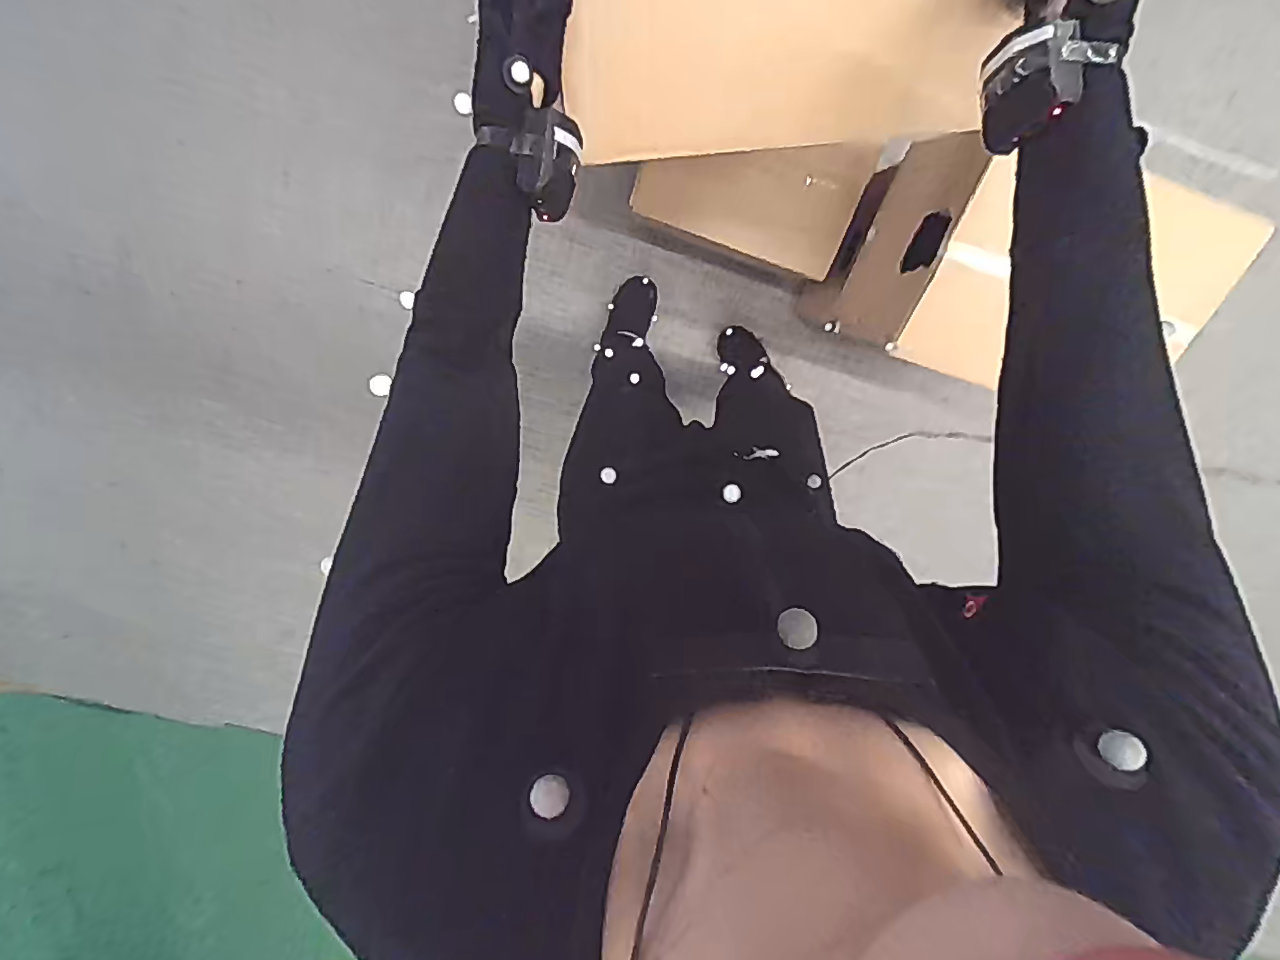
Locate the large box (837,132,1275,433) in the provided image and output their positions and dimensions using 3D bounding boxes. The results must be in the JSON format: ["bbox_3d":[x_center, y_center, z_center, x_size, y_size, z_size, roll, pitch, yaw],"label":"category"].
[{"bbox_3d":[0.609,-0.321,0.888,0.408,0.320,0.320,17,116,-5],"label":"large box"}]
